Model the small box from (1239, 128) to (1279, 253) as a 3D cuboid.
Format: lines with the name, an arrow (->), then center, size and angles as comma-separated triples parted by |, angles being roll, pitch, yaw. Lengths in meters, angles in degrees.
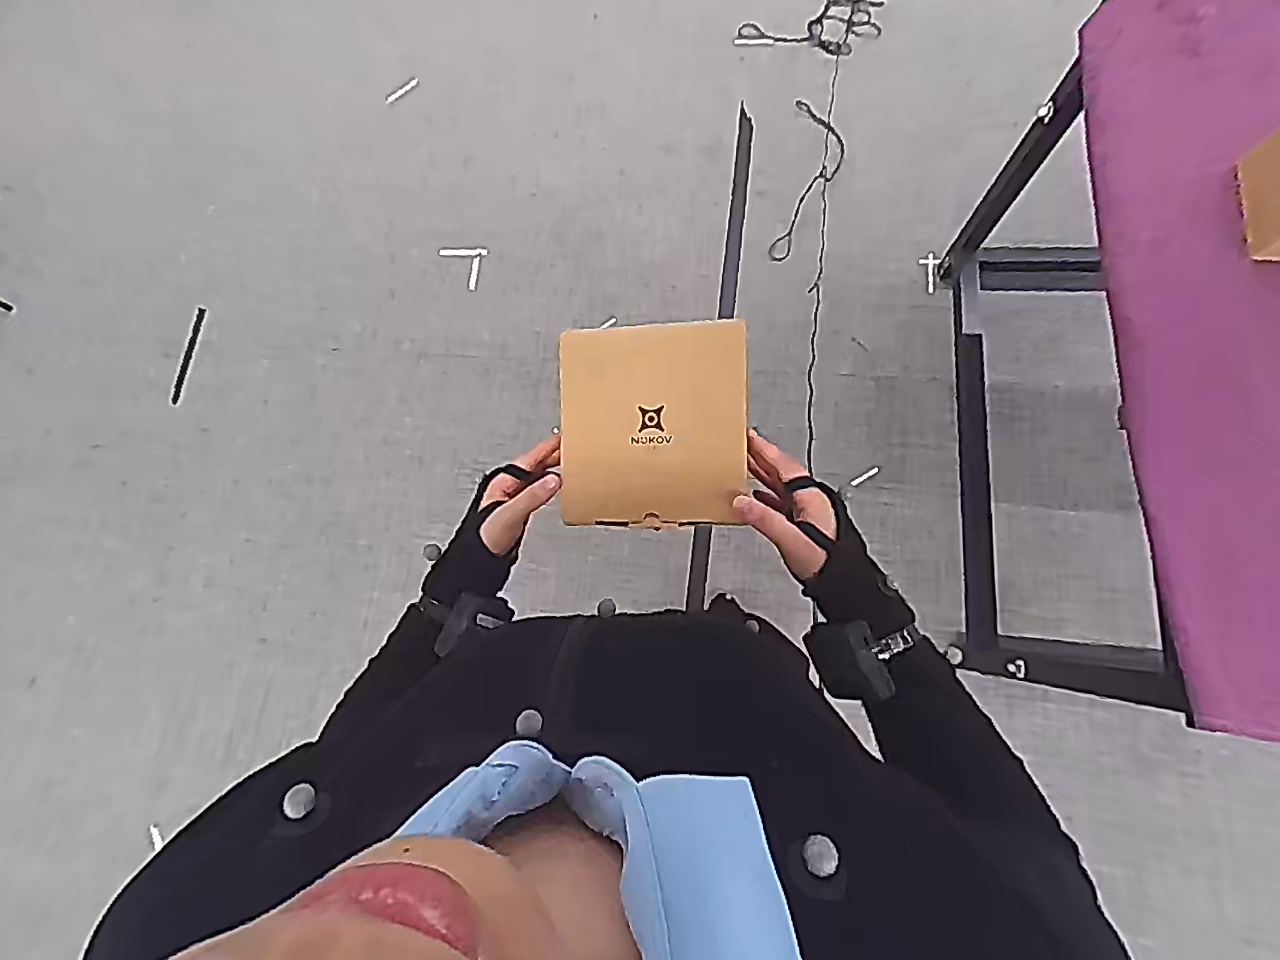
small box -> 0.995, -0.427, 0.741 | 0.168, 0.176, 0.179 | 6, 77, 7
